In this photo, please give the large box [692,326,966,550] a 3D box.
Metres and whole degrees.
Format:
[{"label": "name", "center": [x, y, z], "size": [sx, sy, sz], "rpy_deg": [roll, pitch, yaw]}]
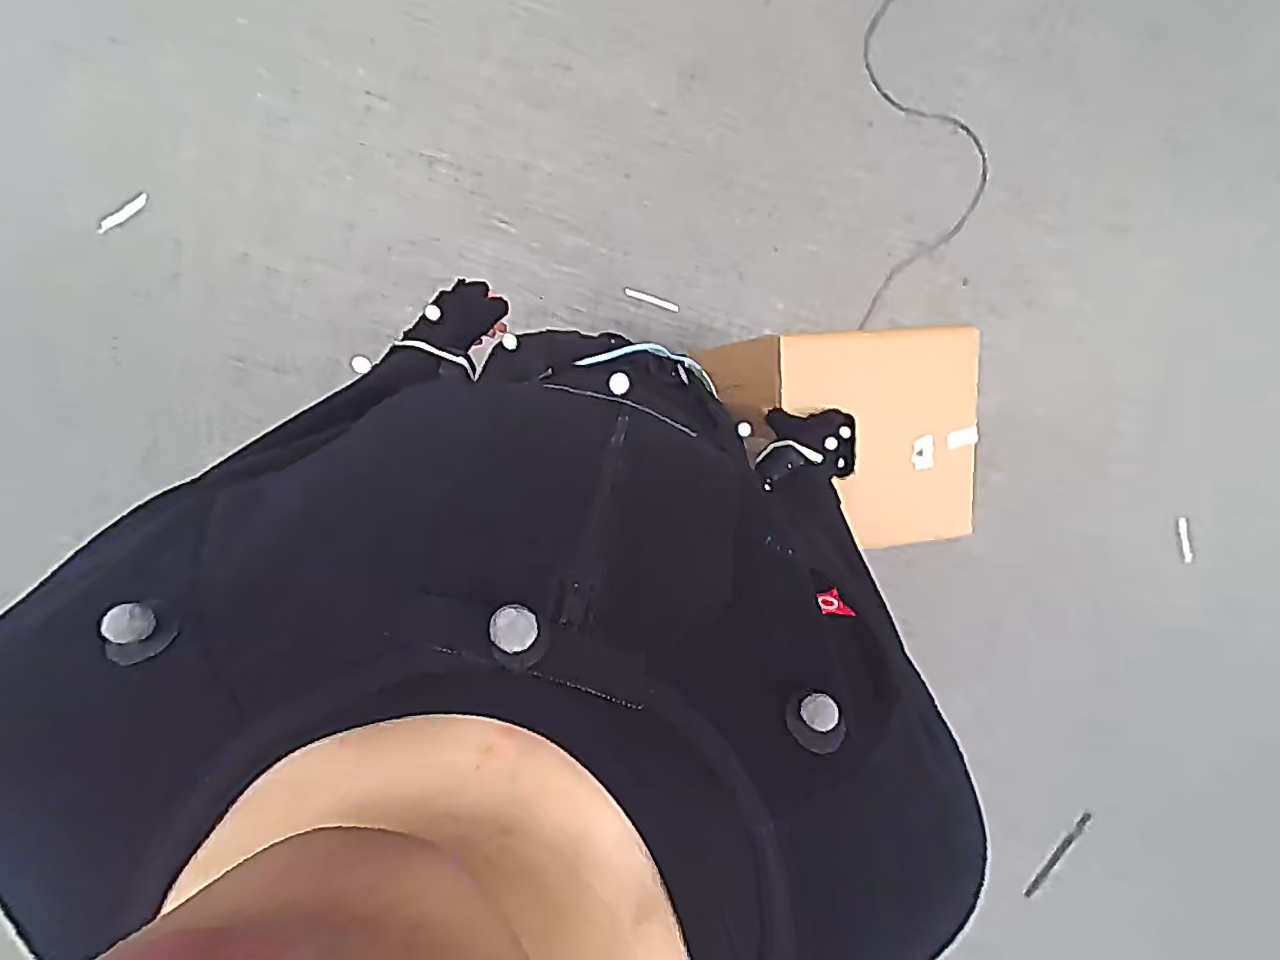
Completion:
[{"label": "large box", "center": [0.301, -0.091, 0.969], "size": [0.320, 0.408, 0.320], "rpy_deg": [-4, 101, -10]}]
